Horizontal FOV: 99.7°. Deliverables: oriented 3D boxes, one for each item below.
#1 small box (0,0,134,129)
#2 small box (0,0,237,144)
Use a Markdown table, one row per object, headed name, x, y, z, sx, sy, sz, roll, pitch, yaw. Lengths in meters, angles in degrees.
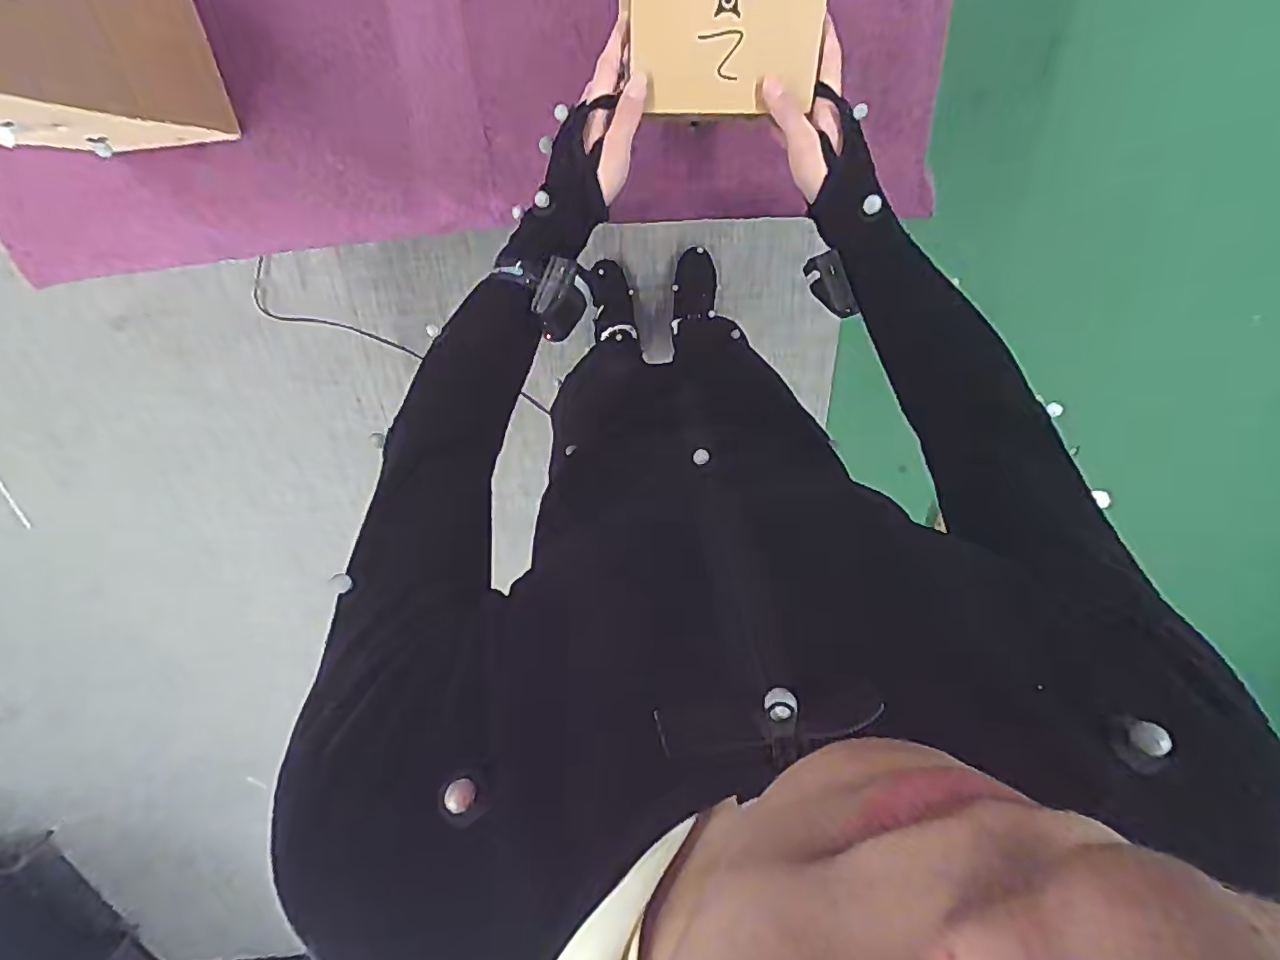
| name | x | y | z | sx | sy | sz | roll | pitch | yaw |
| --- | --- | --- | --- | --- | --- | --- | --- | --- | --- |
| small box | -0.560 | -0.381 | 0.406 | 0.168 | 0.176 | 0.179 | -5 | 118 | 0 |
| small box | -0.568 | -0.454 | 0.553 | 0.168 | 0.176 | 0.179 | -6 | 117 | 0 |
